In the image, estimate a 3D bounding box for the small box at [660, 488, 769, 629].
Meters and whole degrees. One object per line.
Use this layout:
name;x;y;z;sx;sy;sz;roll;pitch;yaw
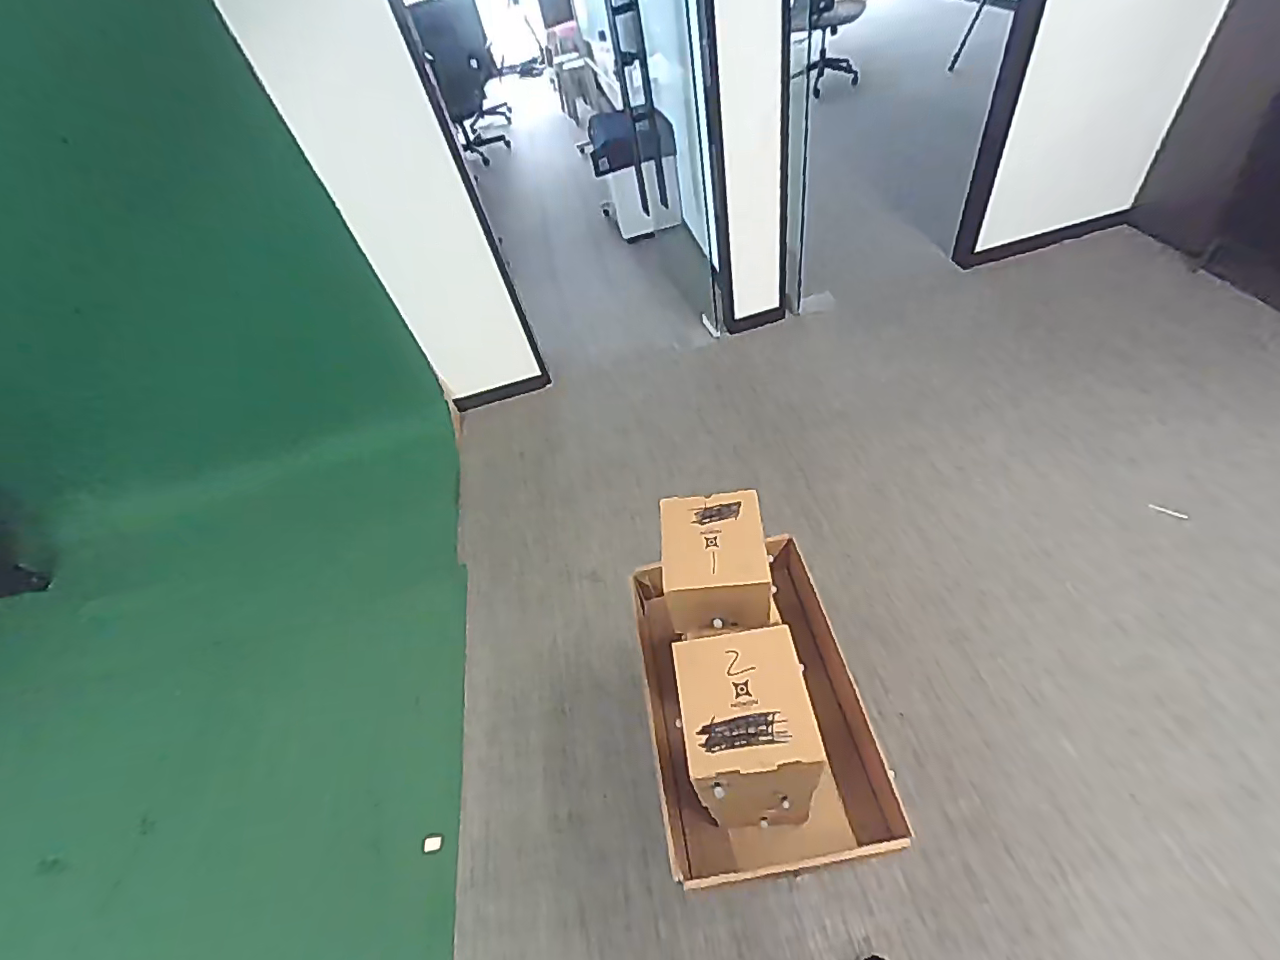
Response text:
small box;0.126;0.137;0.925;0.168;0.176;0.179;-6;52;8

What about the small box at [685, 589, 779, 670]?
small box;0.161;0.241;1.047;0.168;0.176;0.179;-14;50;2

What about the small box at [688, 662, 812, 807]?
small box;0.177;0.422;0.884;0.168;0.176;0.179;-9;48;6
